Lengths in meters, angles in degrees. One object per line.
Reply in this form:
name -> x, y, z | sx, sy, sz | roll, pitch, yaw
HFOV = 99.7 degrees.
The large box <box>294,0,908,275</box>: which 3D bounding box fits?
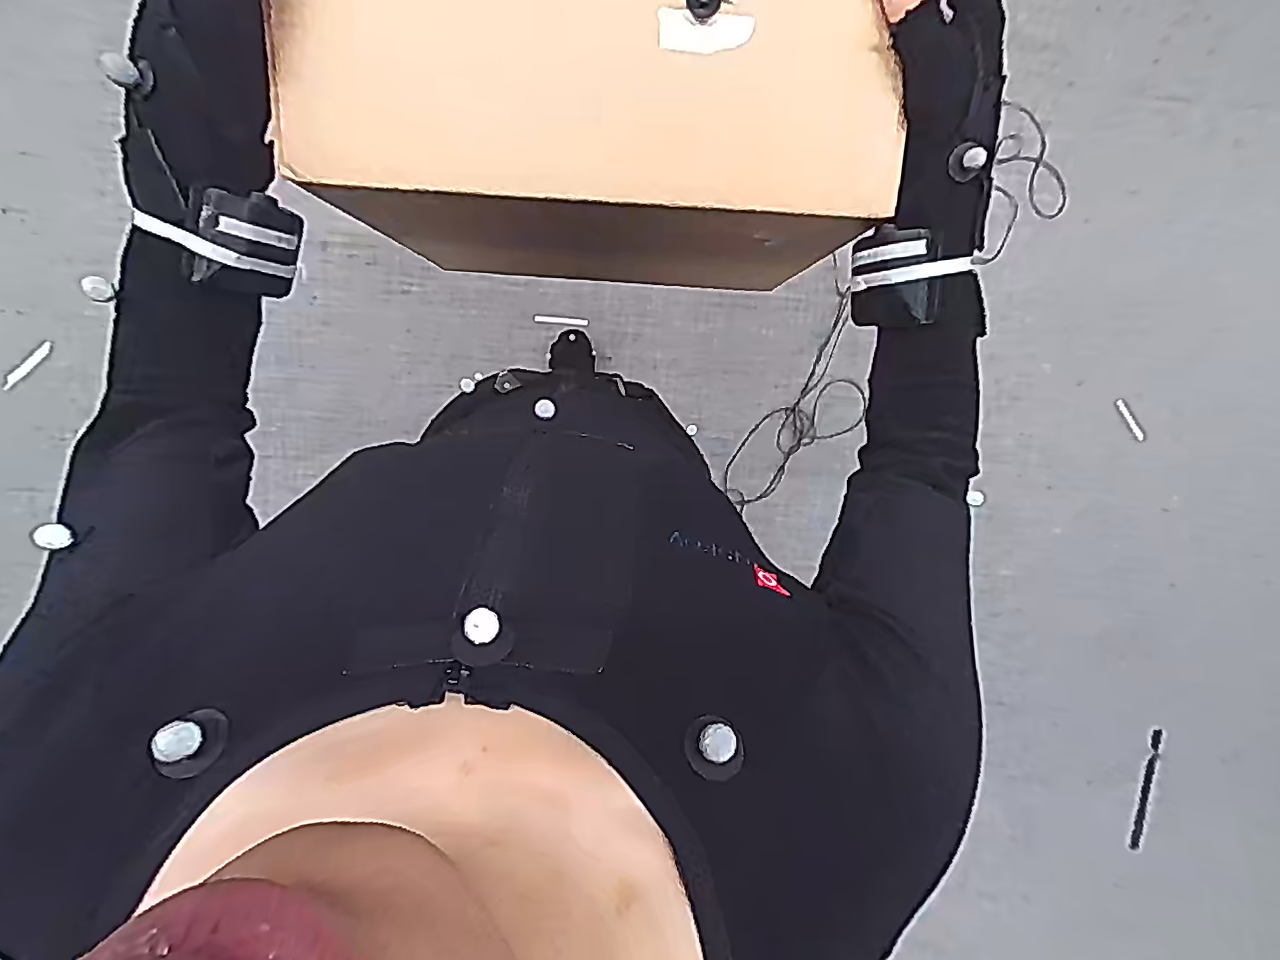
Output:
large box -> -0.026, -0.379, 0.488 | 0.408, 0.320, 0.320 | 2, 101, -2
